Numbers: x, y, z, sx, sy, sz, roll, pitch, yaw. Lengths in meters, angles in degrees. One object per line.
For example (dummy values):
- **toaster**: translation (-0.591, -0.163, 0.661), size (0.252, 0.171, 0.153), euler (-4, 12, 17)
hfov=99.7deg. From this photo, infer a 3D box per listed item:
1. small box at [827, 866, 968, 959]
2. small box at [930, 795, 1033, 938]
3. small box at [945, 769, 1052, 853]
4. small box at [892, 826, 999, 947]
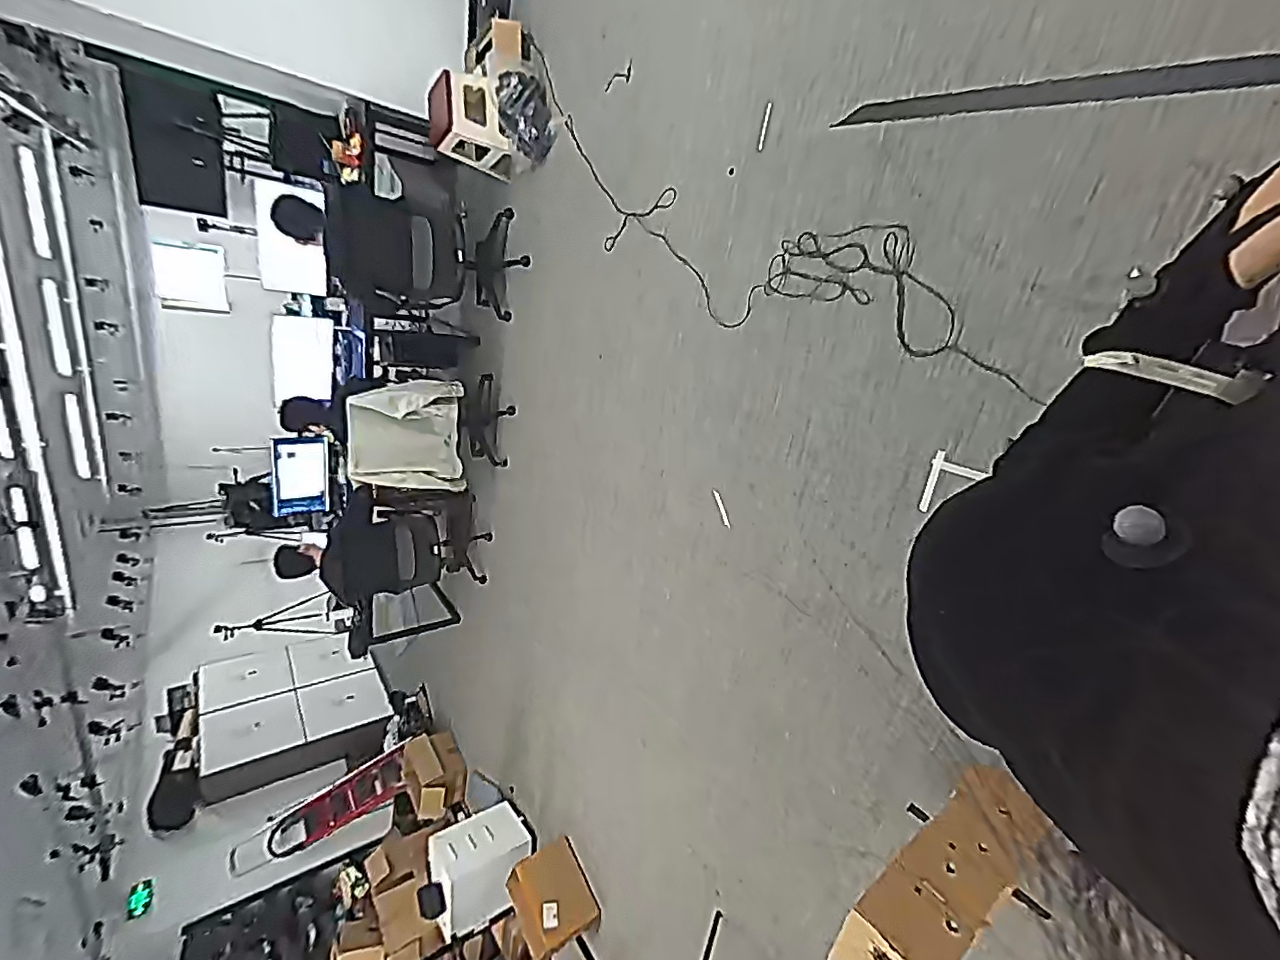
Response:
- **small box**: translation (0.497, 0.903, 1.039), size (0.168, 0.176, 0.179), euler (32, 119, 44)
- **small box**: translation (0.756, 0.872, 1.240), size (0.179, 0.176, 0.168), euler (34, 119, 43)
- **small box**: translation (0.878, 0.859, 1.349), size (0.179, 0.176, 0.168), euler (31, 118, 45)
- **small box**: translation (0.623, 0.886, 1.144), size (0.168, 0.176, 0.179), euler (33, 119, 44)
